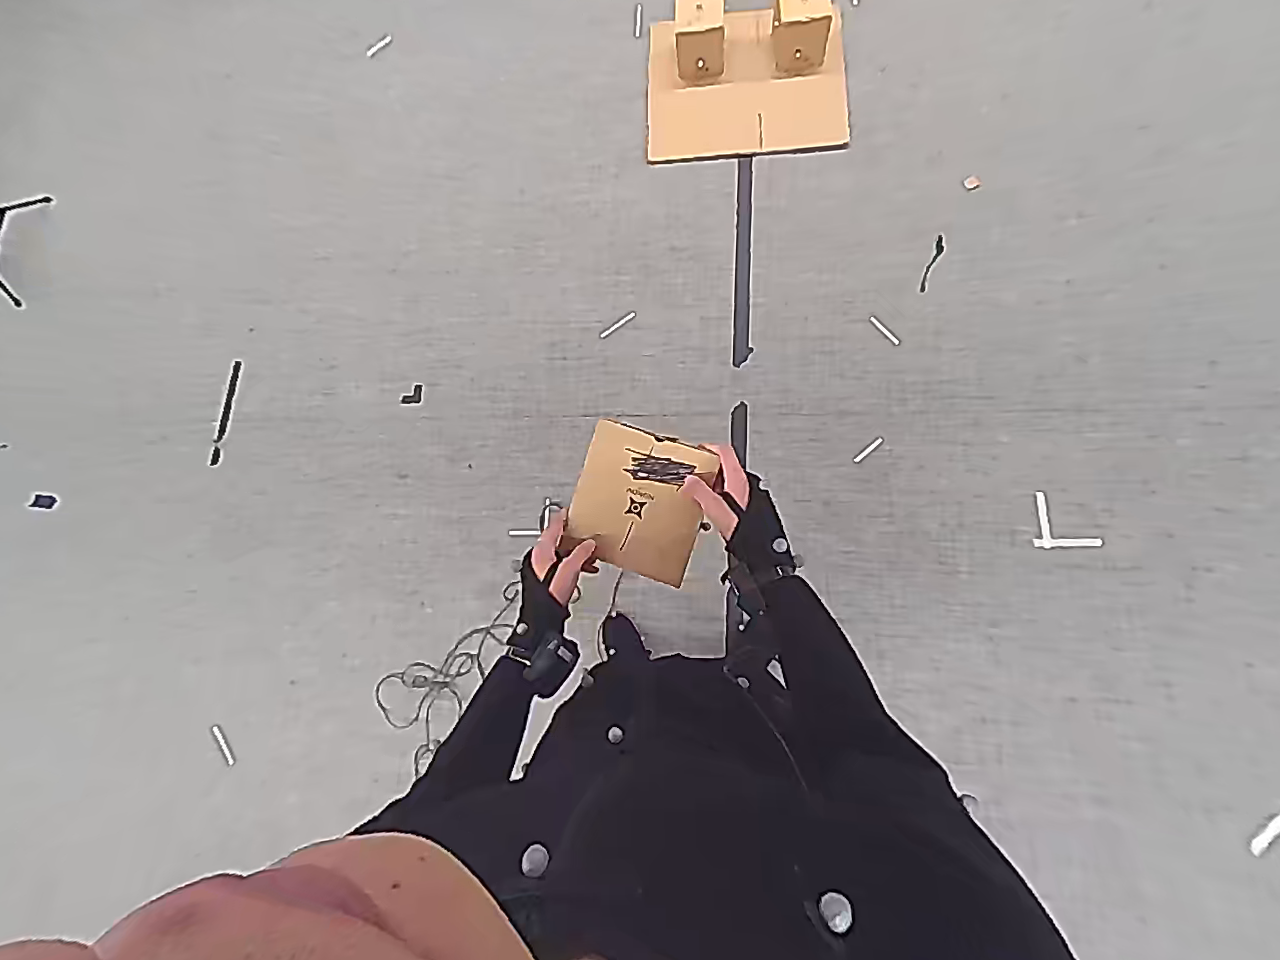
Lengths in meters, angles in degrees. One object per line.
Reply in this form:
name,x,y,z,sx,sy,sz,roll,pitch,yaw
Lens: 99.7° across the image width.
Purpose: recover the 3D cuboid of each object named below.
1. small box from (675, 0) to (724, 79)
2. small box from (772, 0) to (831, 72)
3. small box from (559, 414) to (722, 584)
small box,0.211,-1.571,1.913,0.168,0.176,0.179,-1,78,9
small box,0.553,-1.569,1.872,0.168,0.176,0.179,-4,78,7
small box,0.007,0.022,0.753,0.168,0.176,0.179,18,93,7
